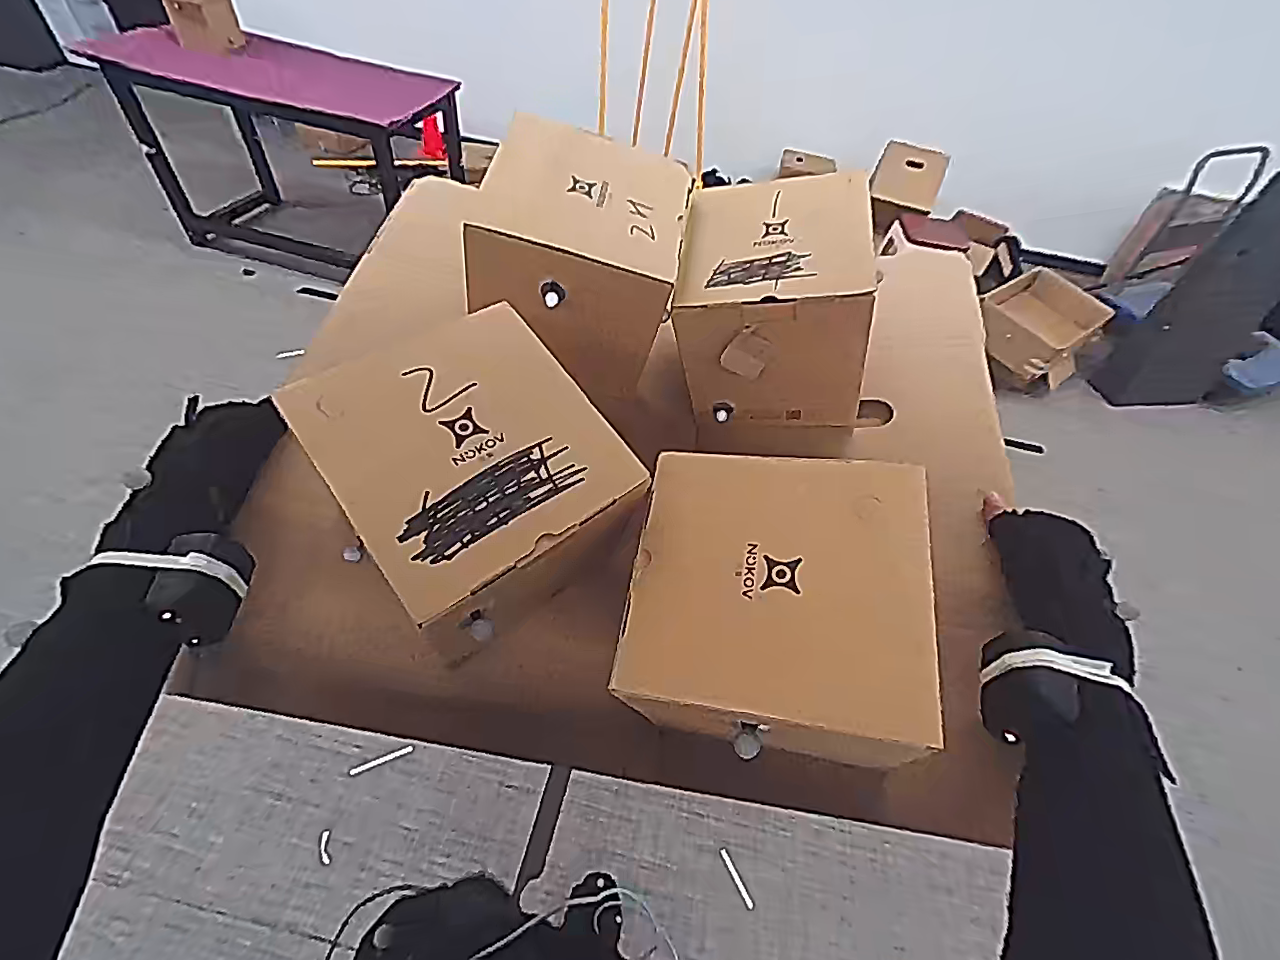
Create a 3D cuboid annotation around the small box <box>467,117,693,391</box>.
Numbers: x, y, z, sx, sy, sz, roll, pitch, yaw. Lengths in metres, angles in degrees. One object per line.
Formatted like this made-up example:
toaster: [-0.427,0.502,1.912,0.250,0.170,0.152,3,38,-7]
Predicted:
small box: [-0.061,-0.213,0.546,0.179,0.176,0.168,14,61,-8]
